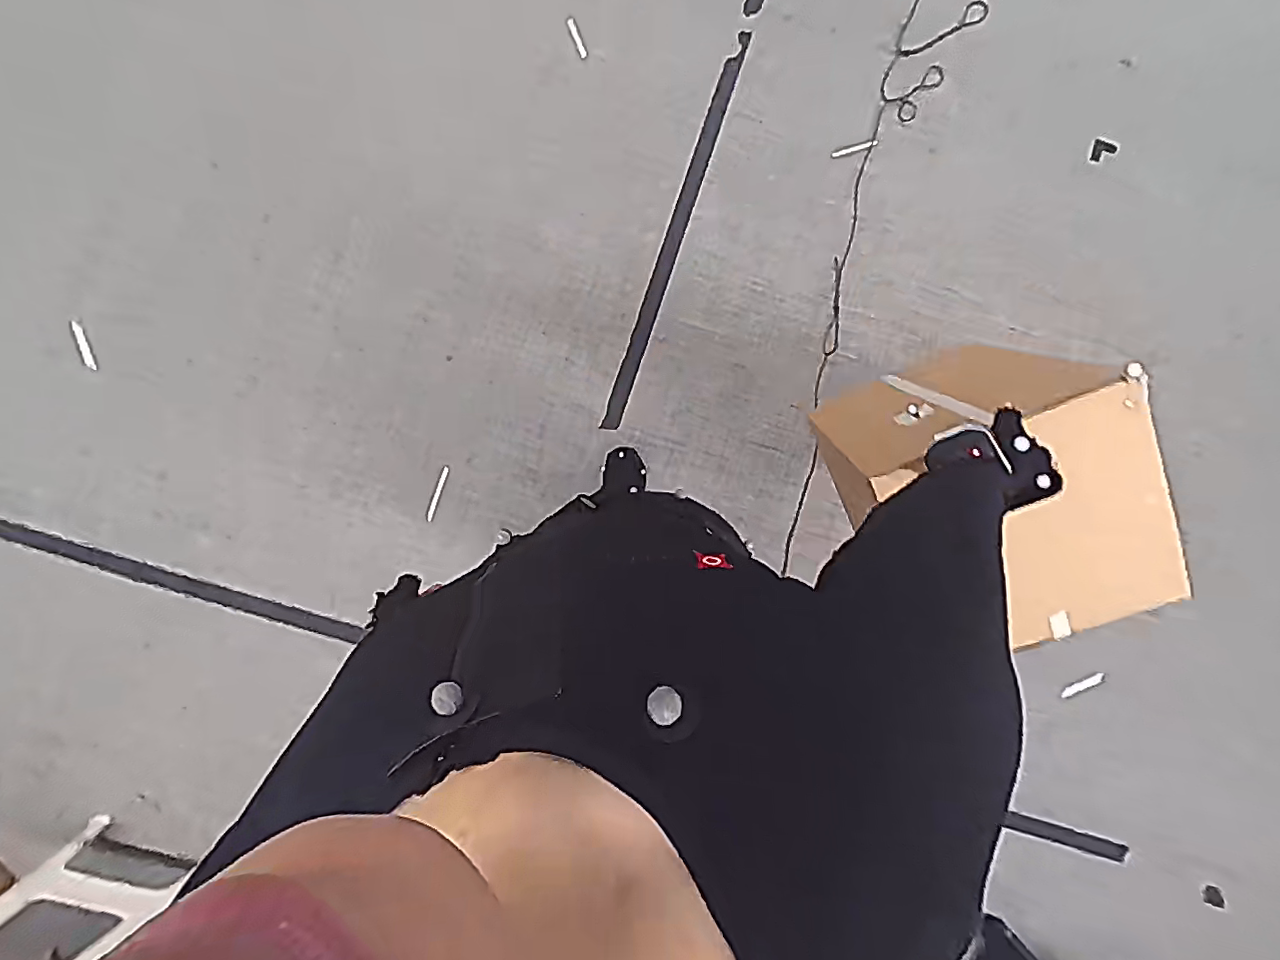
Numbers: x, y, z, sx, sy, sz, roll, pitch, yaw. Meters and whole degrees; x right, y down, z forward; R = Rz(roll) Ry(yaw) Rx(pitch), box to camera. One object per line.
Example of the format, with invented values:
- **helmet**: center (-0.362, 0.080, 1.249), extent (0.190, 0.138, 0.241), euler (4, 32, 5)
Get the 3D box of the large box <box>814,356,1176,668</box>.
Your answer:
- **large box**: center (0.521, 0.022, 0.878), extent (0.320, 0.408, 0.320), euler (-23, 106, 12)
